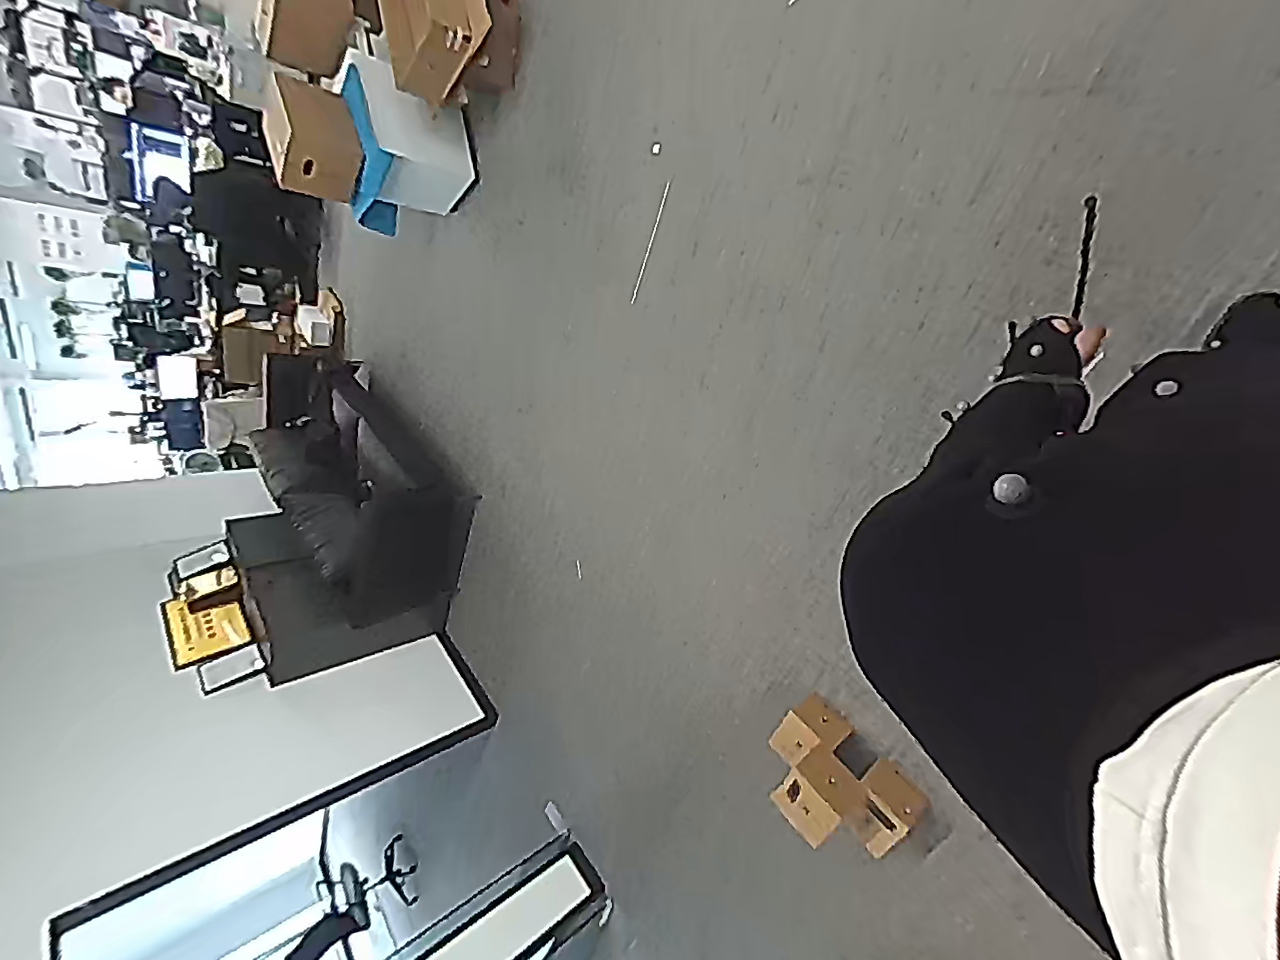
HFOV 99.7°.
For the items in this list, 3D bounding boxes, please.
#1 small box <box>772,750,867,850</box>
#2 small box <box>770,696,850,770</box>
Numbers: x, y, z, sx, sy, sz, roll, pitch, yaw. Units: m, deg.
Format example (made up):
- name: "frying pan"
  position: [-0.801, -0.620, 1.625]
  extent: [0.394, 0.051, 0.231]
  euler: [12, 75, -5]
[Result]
- name: "small box"
  position: [0.537, 0.944, 1.620]
  extent: [0.179, 0.176, 0.168]
  euler: [42, 124, 32]
- name: "small box"
  position: [0.573, 0.859, 1.805]
  extent: [0.168, 0.176, 0.179]
  euler: [41, 124, 33]
